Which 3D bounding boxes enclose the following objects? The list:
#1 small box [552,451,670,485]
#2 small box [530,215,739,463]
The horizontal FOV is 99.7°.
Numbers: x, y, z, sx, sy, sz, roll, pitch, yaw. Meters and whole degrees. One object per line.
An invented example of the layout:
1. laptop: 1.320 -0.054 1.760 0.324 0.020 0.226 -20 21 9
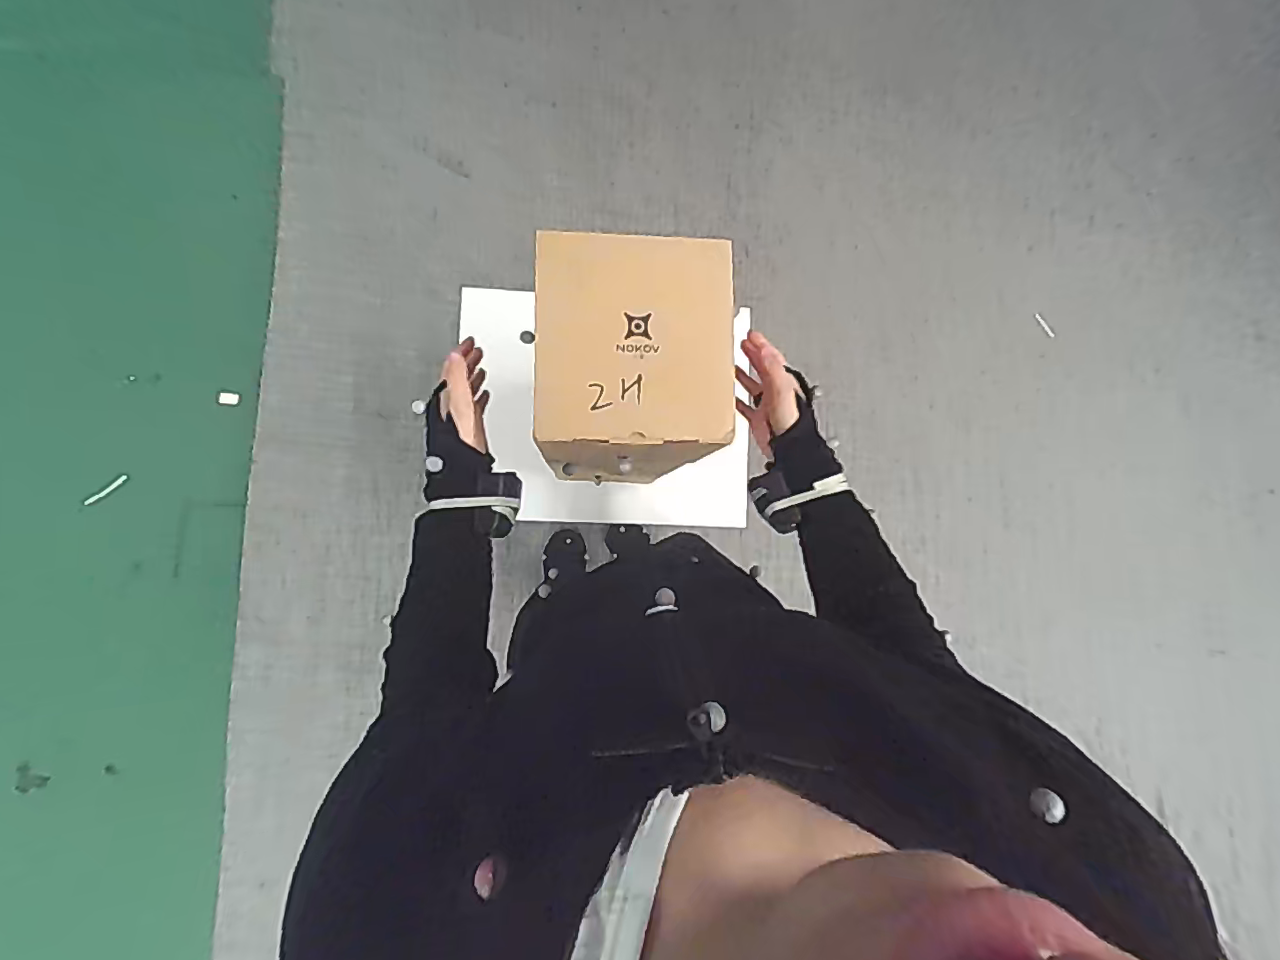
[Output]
1. small box: -0.045 -0.090 0.831 0.168 0.176 0.179 3 85 -6
2. small box: -0.011 -0.114 0.505 0.168 0.176 0.179 0 85 -5
